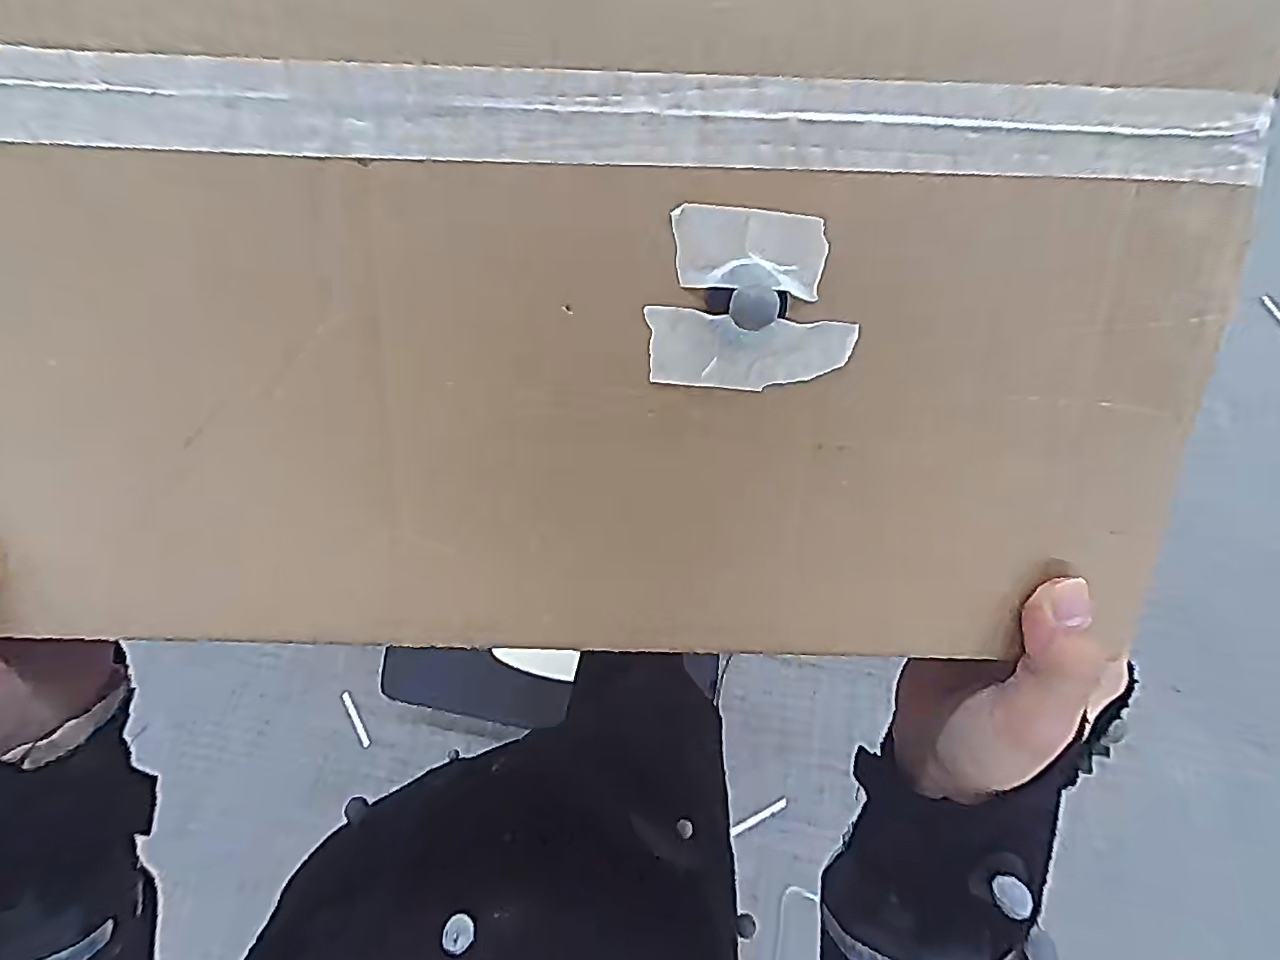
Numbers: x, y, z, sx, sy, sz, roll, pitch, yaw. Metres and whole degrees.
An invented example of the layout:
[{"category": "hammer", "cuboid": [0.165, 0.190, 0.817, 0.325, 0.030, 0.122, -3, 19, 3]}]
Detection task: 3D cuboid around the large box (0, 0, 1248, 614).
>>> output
[{"category": "large box", "cuboid": [-0.034, -0.136, 0.303, 0.408, 0.320, 0.320, 1, 104, -2]}]
